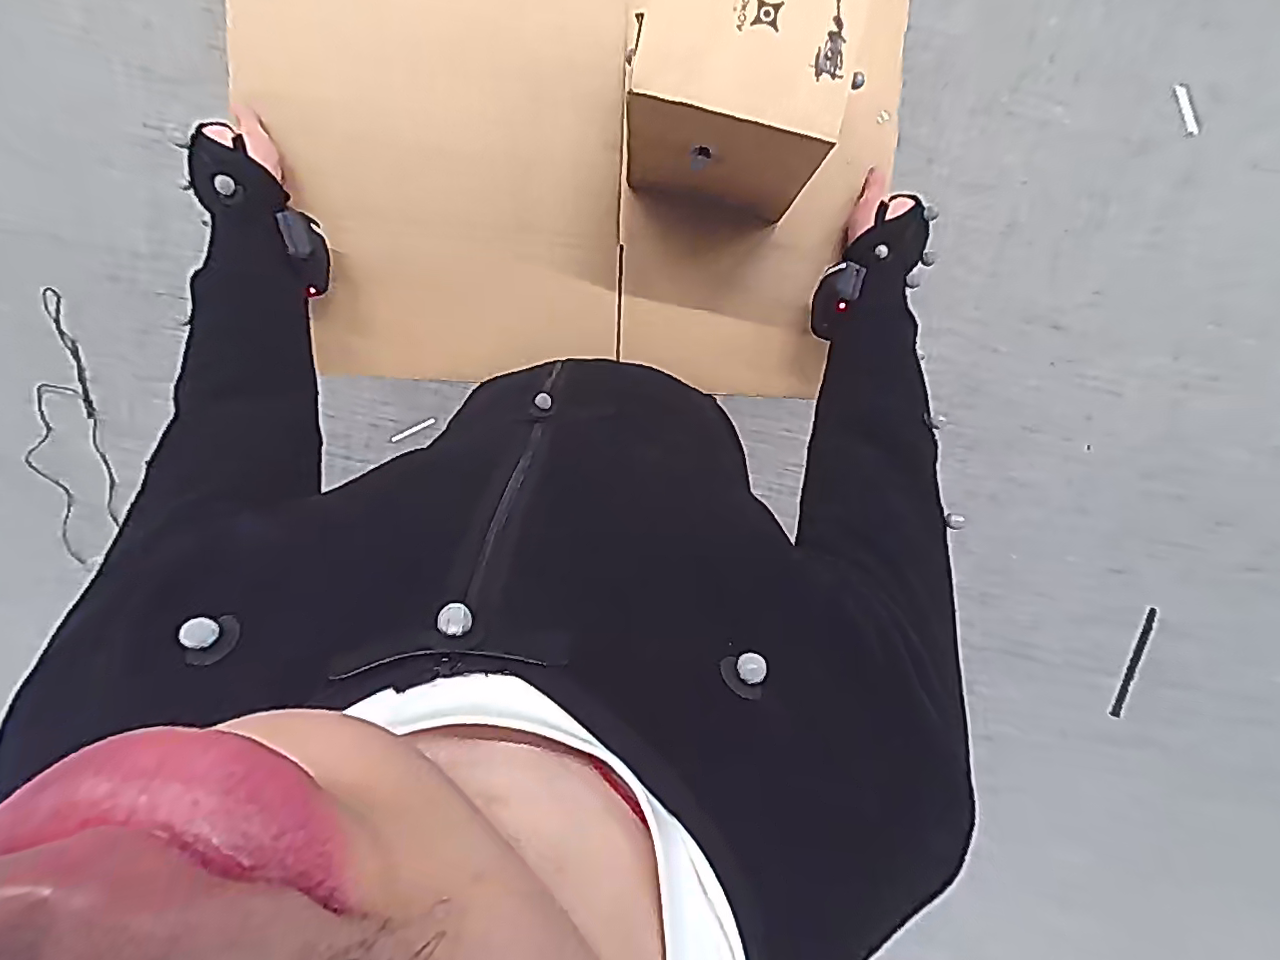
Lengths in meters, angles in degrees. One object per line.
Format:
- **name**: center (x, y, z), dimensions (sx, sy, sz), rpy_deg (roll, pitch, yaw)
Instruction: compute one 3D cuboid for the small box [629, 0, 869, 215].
- **small box**: center (0.092, -0.378, 0.514), dimensions (0.179, 0.176, 0.168), rpy_deg (12, 95, -2)
